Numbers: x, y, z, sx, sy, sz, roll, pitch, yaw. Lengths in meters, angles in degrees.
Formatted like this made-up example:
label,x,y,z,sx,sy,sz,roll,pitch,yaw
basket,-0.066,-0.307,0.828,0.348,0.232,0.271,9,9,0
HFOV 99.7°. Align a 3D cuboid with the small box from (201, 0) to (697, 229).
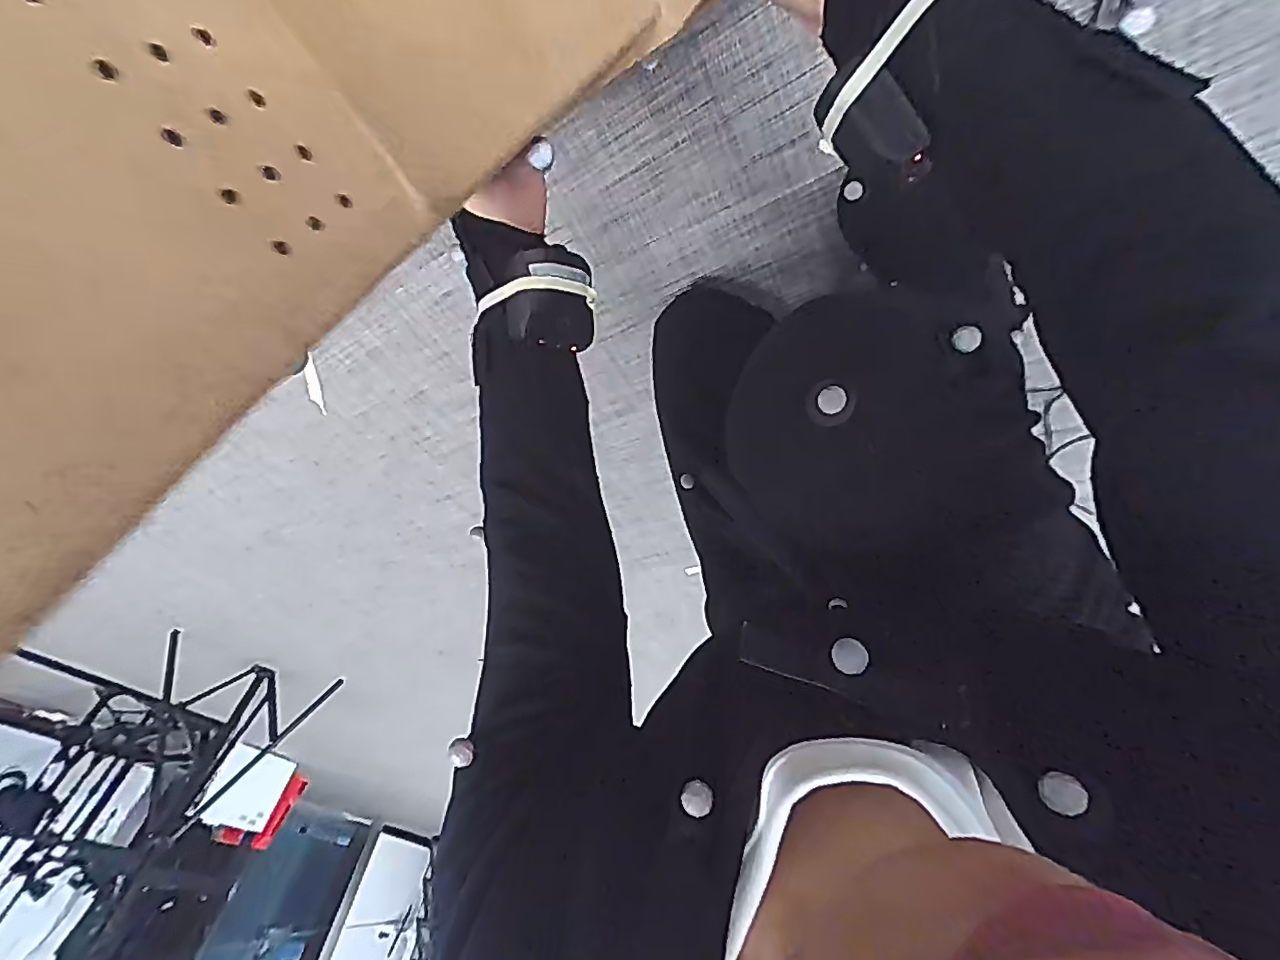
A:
label,x,y,z,sx,sy,sz,roll,pitch,yaw
small box,-0.080,-0.260,0.246,0.179,0.176,0.168,-12,133,33
